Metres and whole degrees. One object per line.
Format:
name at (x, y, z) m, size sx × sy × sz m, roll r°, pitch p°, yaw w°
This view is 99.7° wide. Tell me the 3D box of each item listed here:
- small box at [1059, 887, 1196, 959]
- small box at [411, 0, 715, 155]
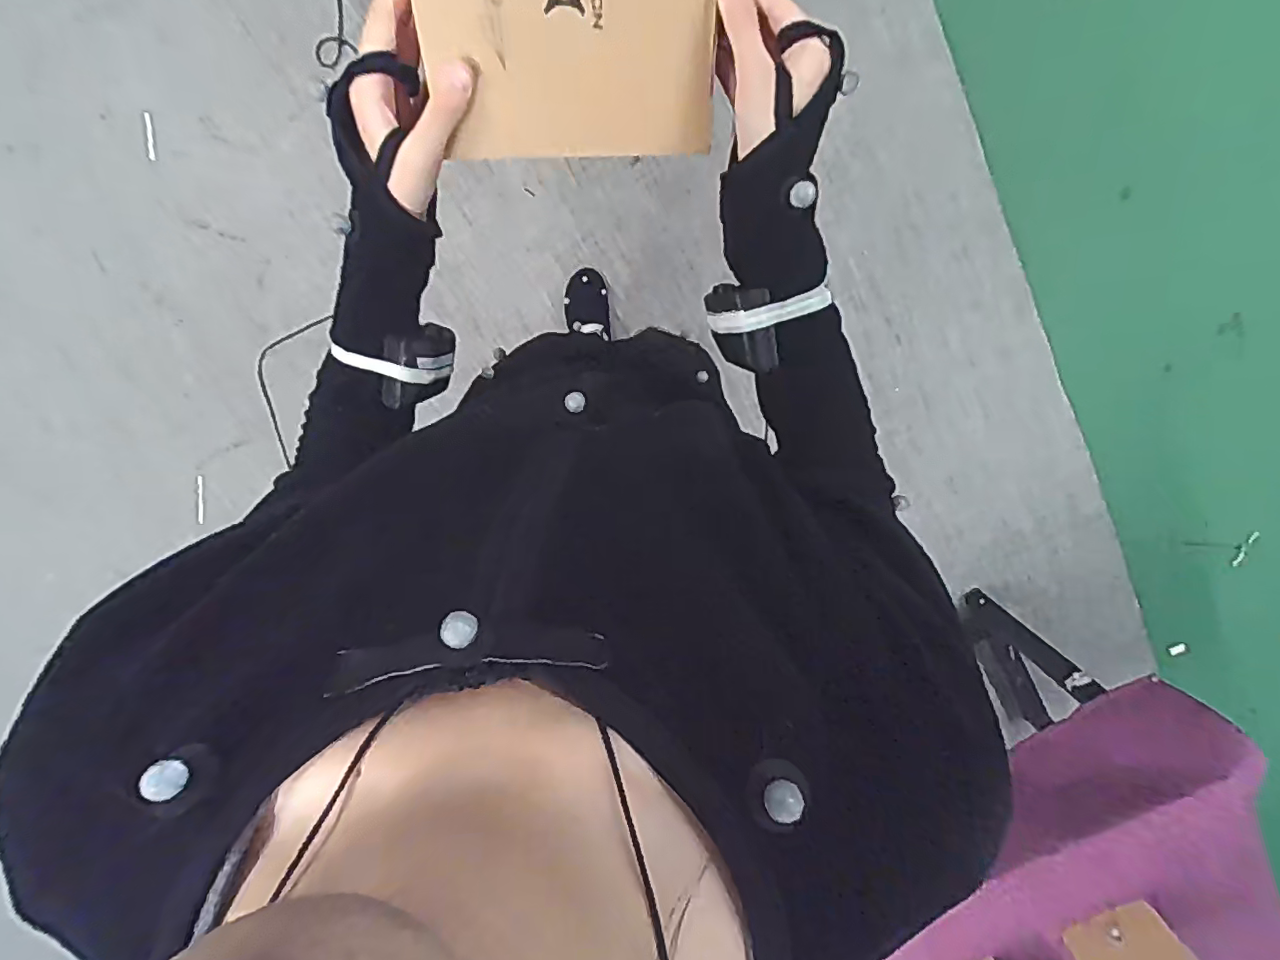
small box at (0.961, 0.945, 1.045) m, size 0.179 × 0.176 × 0.168 m, roll -33°, pitch 107°, yaw 9°
small box at (-0.053, -0.327, 0.365) m, size 0.179 × 0.176 × 0.168 m, roll -4°, pitch 128°, yaw -7°
